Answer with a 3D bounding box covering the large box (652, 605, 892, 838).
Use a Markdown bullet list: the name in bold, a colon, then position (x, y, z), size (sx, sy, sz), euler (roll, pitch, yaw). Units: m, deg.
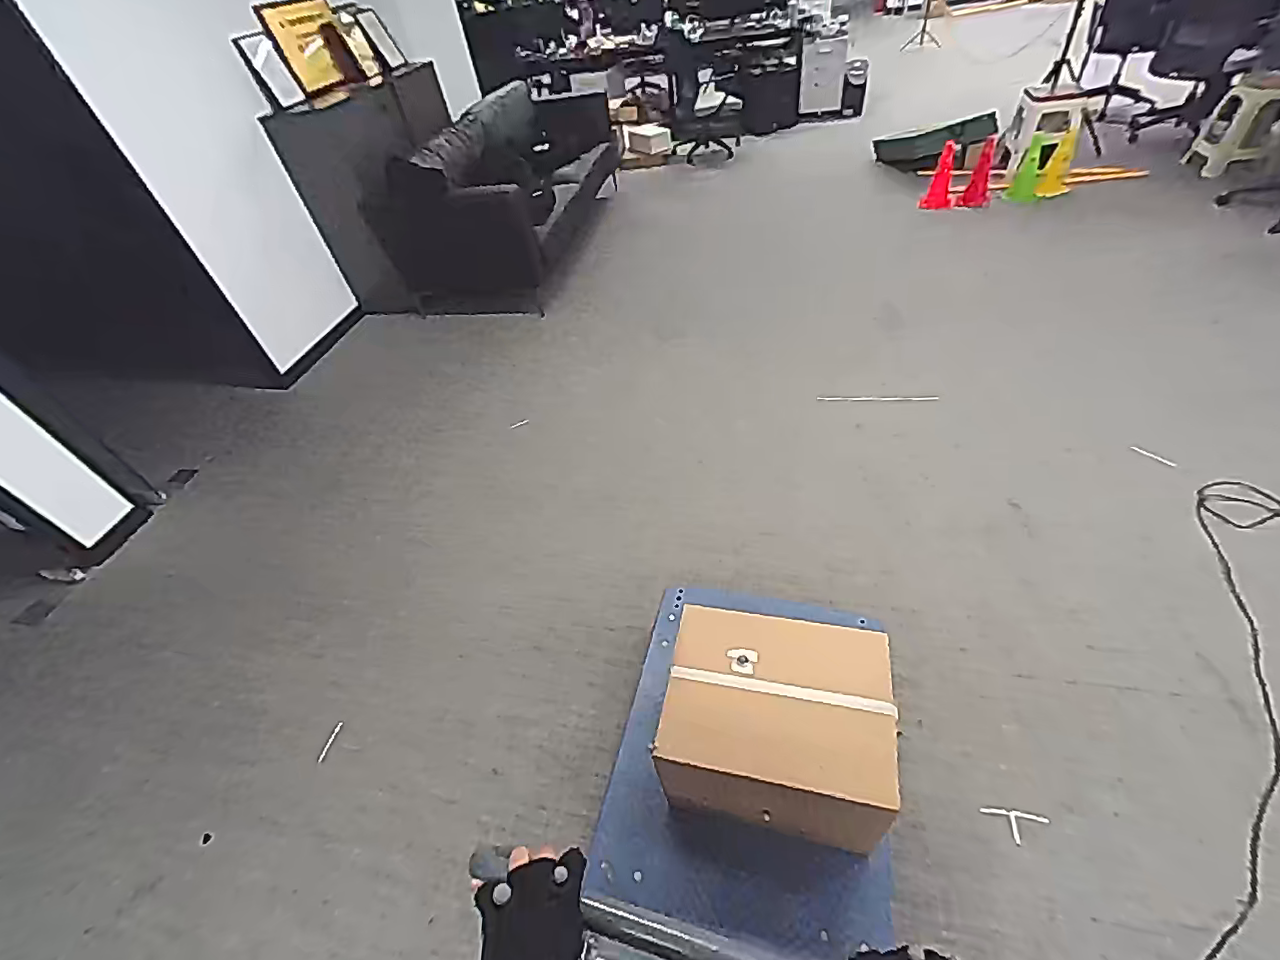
- **large box**: position (0.271, 0.491, 1.114), size (0.408, 0.320, 0.320), euler (4, 46, 17)
